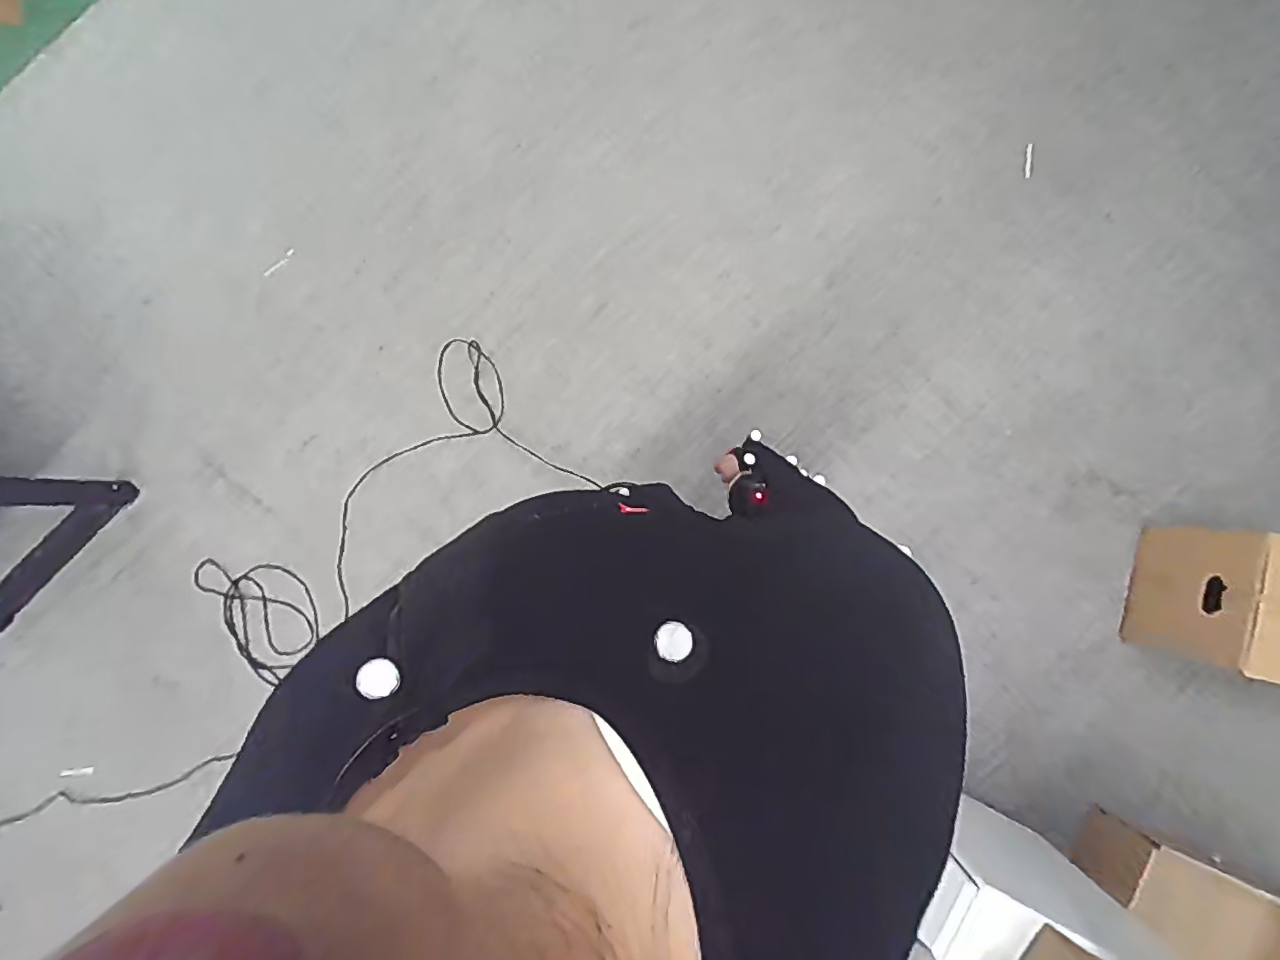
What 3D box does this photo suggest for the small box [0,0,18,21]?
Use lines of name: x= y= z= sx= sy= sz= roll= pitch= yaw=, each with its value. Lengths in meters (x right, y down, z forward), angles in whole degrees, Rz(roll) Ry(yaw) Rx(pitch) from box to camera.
small box: x=-1.939 y=-1.454 z=1.540 sx=0.179 sy=0.176 sz=0.168 roll=2 pitch=88 yaw=3
